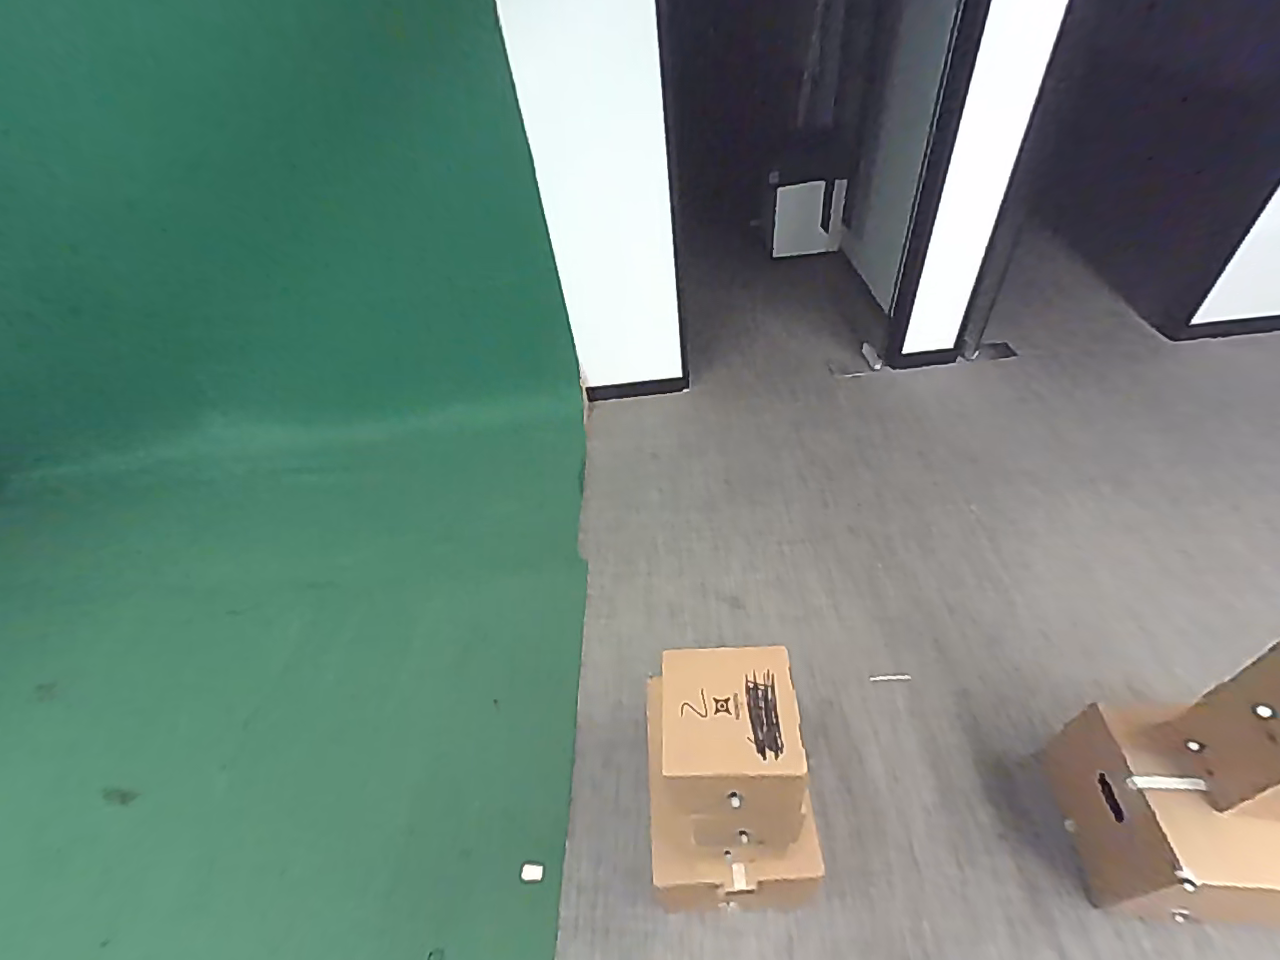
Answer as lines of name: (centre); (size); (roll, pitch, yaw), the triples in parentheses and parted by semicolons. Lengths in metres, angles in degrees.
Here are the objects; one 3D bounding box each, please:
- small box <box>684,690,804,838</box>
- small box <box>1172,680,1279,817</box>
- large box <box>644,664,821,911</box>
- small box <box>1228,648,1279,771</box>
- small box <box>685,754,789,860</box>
small box: (0.160, 0.461, 0.871); (0.168, 0.176, 0.179); (-4, 44, 5)
small box: (1.105, 0.470, 0.939); (0.179, 0.176, 0.168); (1, 44, 11)
large box: (0.188, 0.688, 1.221); (0.320, 0.320, 0.408); (-6, 44, 3)
small box: (1.089, 0.354, 0.824); (0.179, 0.176, 0.168); (2, 43, 12)
small box: (0.172, 0.577, 0.988); (0.168, 0.176, 0.179); (-5, 44, 5)
